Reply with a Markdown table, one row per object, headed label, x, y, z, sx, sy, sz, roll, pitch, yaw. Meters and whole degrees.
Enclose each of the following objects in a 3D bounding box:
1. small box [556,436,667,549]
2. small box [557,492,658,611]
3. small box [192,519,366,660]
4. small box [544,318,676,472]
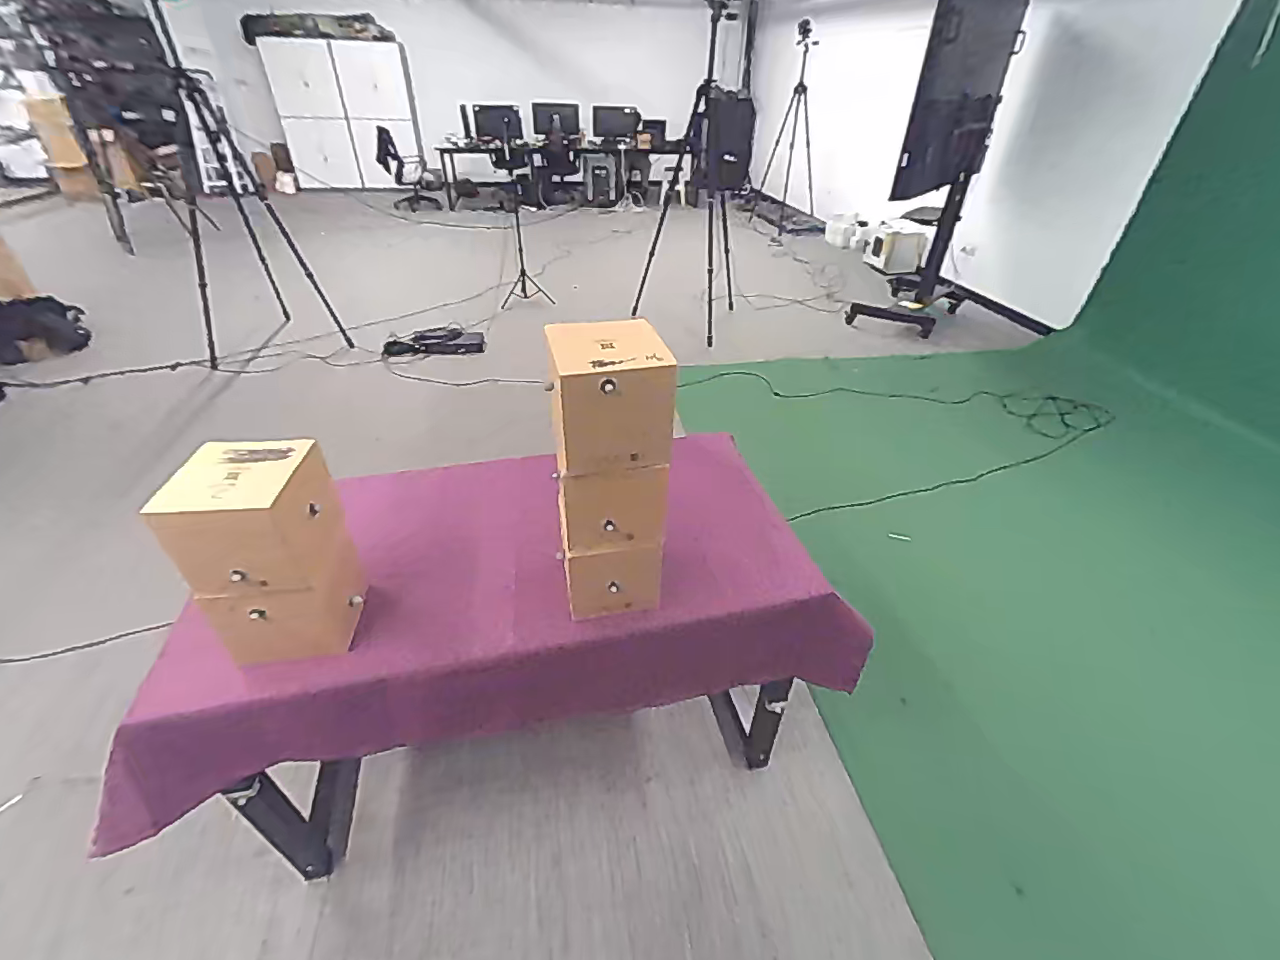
| label | x | y | z | sx | sy | sz | roll | pitch | yaw |
| --- | --- | --- | --- | --- | --- | --- | --- | --- | --- |
| small box | -0.056 | -0.005 | 0.933 | 0.168 | 0.176 | 0.179 | -6 | 39 | -10 |
| small box | -0.064 | 0.130 | 1.024 | 0.168 | 0.176 | 0.179 | -6 | 38 | -11 |
| small box | -0.599 | 0.189 | 0.926 | 0.179 | 0.176 | 0.168 | -4 | 37 | -9 |
| small box | -0.052 | -0.134 | 0.831 | 0.168 | 0.176 | 0.179 | -9 | 38 | -13 |
